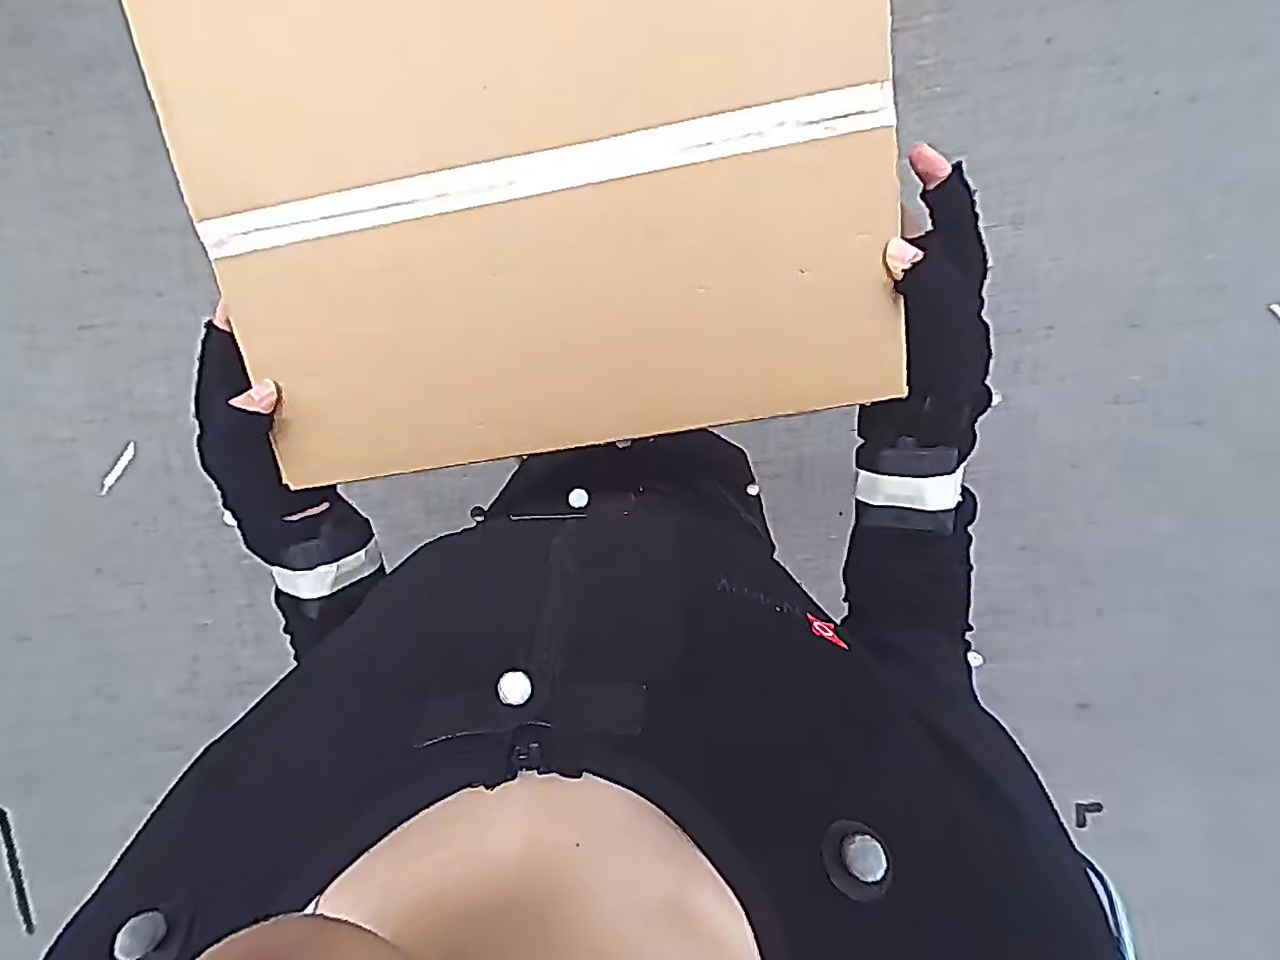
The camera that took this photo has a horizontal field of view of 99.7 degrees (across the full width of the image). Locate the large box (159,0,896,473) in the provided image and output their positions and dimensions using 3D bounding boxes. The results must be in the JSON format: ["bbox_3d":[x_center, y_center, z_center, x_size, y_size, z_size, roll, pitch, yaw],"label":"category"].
[{"bbox_3d":[-0.054,-0.216,0.466,0.408,0.320,0.320,-9,104,5],"label":"large box"}]
